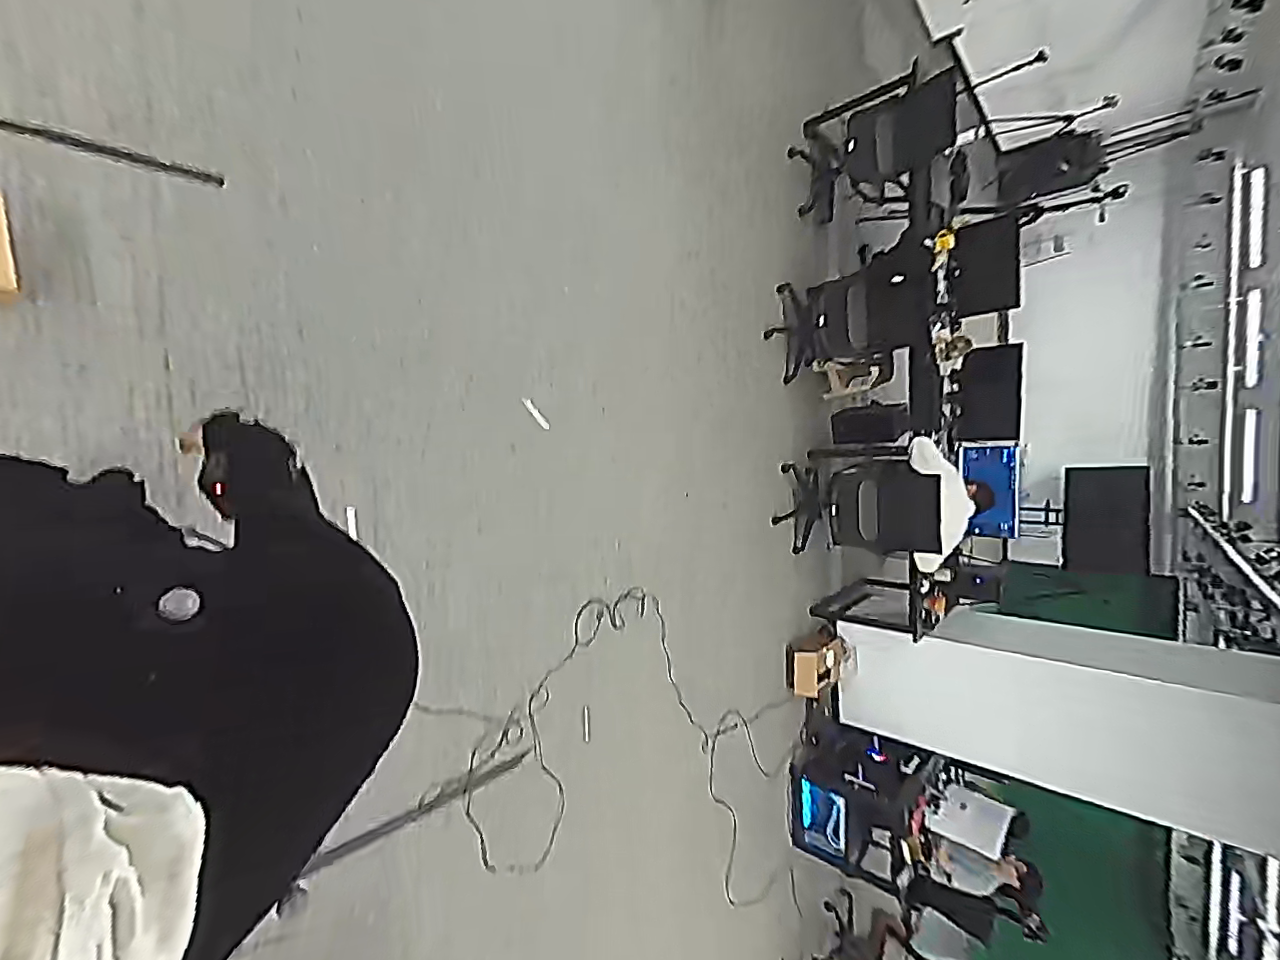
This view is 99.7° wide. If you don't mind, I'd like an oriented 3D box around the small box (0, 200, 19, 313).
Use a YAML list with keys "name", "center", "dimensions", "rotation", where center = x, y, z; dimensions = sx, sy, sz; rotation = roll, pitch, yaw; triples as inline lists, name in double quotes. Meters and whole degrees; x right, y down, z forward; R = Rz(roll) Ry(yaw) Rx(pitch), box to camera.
- name: "small box"
  center: [-1.269, -0.417, 0.984]
  dimensions: [0.168, 0.176, 0.179]
  rotation: [-9, 98, -47]
